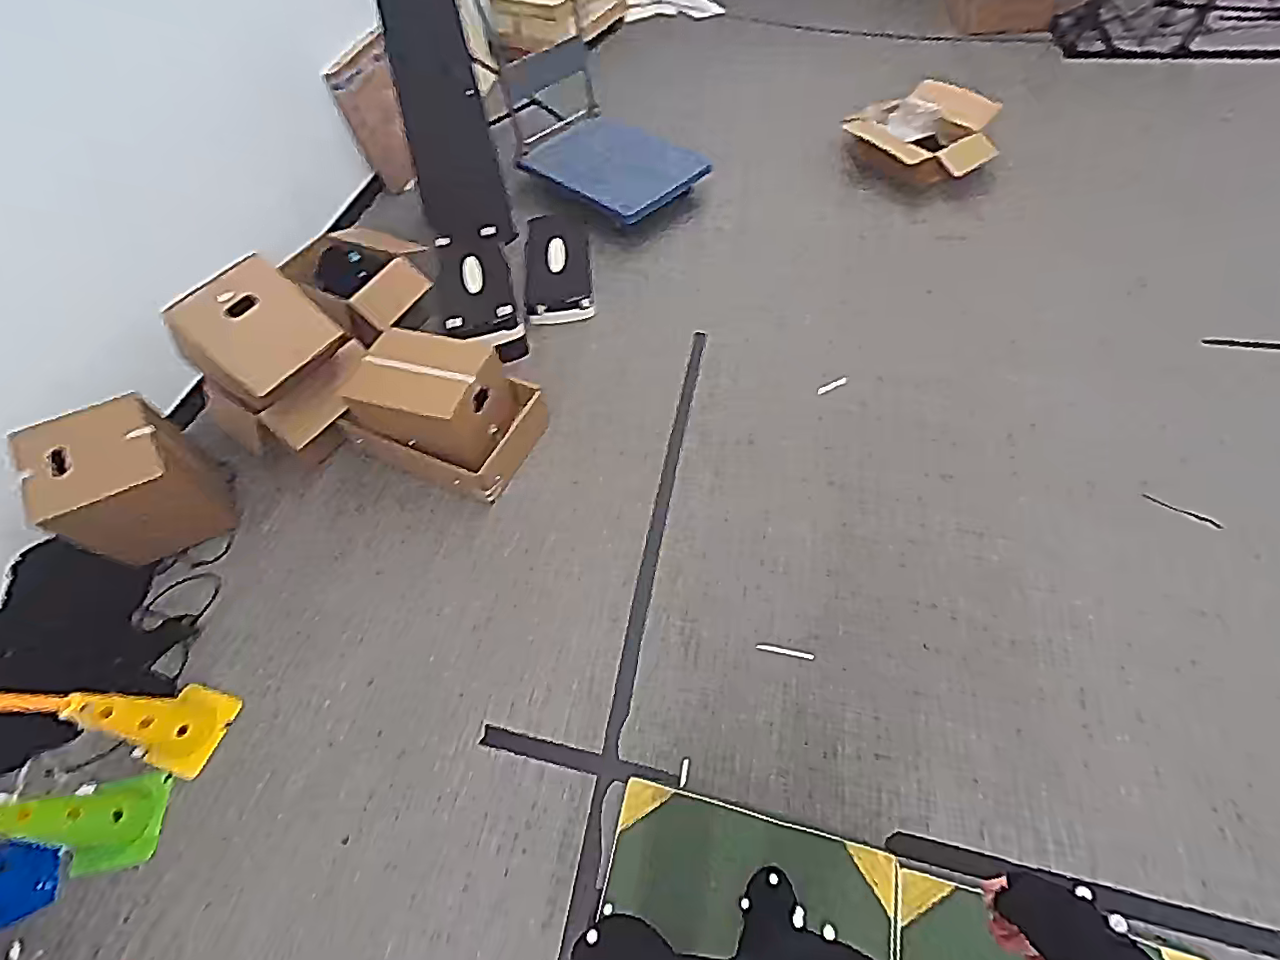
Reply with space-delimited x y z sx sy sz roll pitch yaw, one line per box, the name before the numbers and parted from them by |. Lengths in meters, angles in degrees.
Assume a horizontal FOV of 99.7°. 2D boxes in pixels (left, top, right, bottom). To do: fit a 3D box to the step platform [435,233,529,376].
step platform | -0.674 -0.758 2.270 0.286 0.204 0.684 -16 58 -6
